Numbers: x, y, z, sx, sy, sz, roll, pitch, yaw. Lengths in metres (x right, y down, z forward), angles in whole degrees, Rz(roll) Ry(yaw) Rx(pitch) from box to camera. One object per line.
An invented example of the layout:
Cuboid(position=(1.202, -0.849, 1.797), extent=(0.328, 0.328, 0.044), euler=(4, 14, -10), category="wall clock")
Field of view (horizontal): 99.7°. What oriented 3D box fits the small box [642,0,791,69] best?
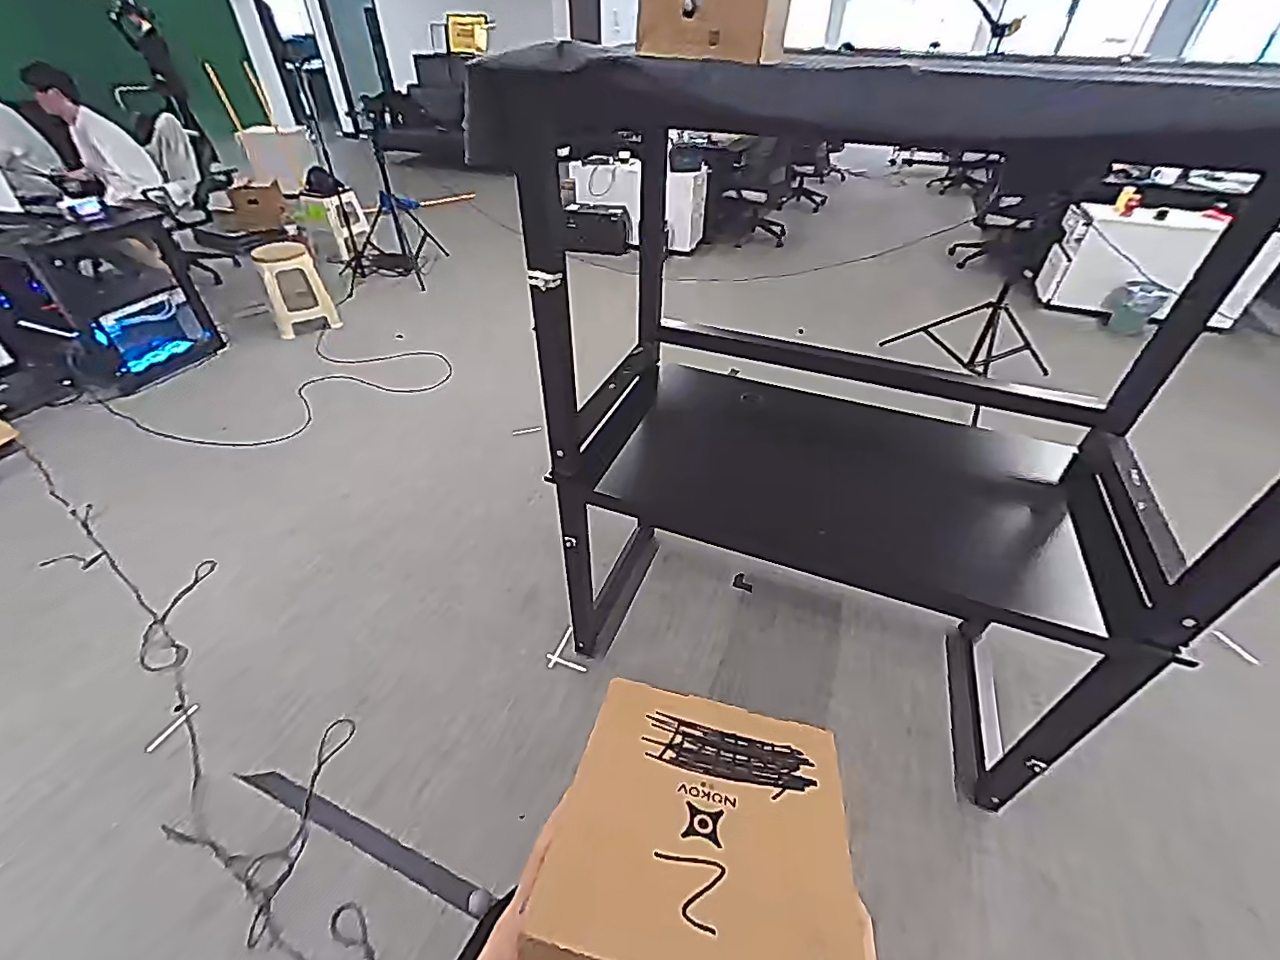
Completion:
Cuboid(position=(0.105, -0.643, 0.694), extent=(0.168, 0.176, 0.179), euler=(15, 41, 14), category="small box")
